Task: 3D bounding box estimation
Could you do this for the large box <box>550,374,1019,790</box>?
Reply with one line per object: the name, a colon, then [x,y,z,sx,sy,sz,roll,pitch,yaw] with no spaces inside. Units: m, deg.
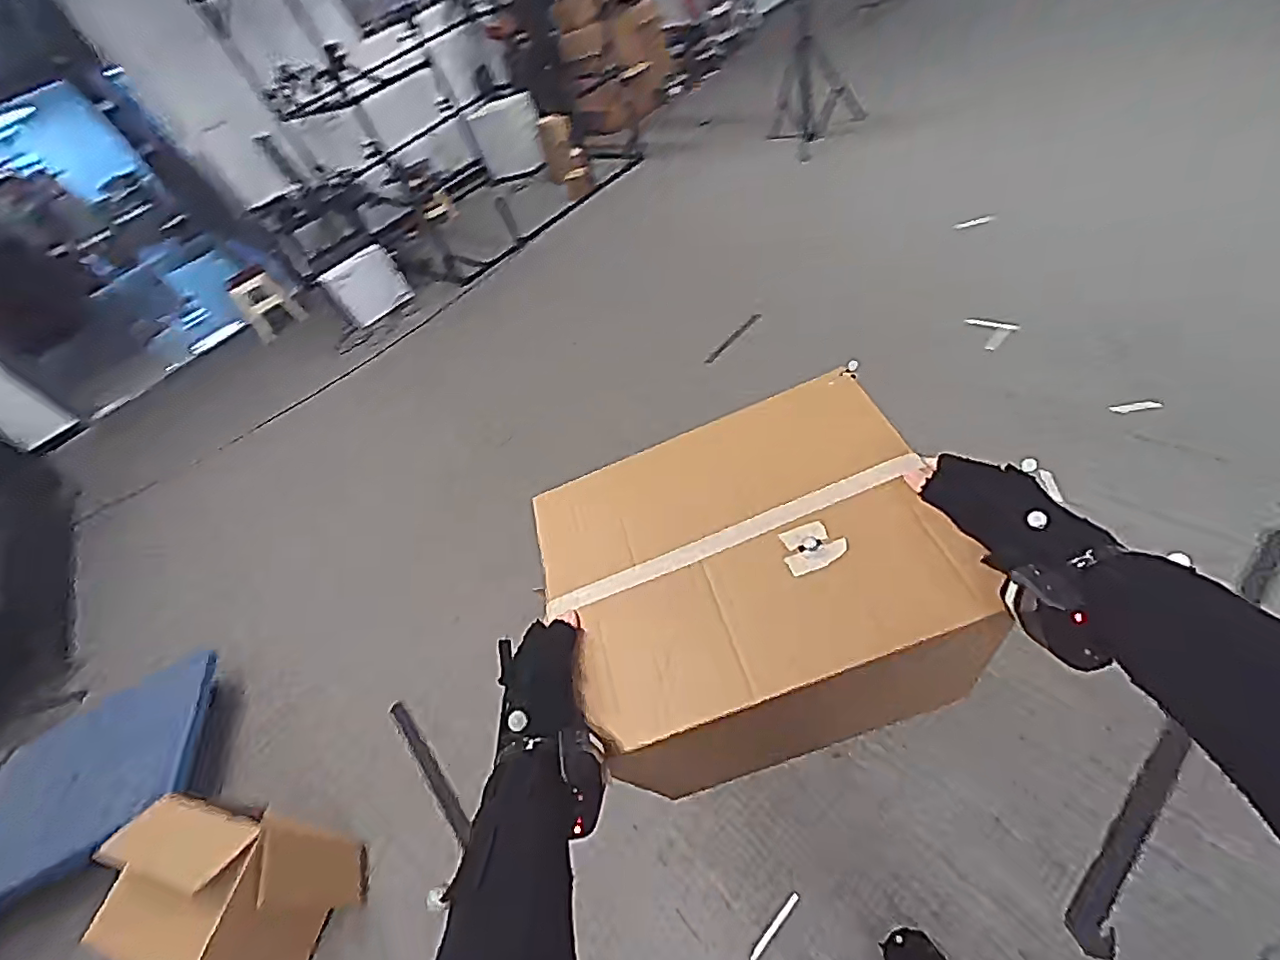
large box: [0.148,0.143,0.680,0.408,0.320,0.320,-22,52,5]
